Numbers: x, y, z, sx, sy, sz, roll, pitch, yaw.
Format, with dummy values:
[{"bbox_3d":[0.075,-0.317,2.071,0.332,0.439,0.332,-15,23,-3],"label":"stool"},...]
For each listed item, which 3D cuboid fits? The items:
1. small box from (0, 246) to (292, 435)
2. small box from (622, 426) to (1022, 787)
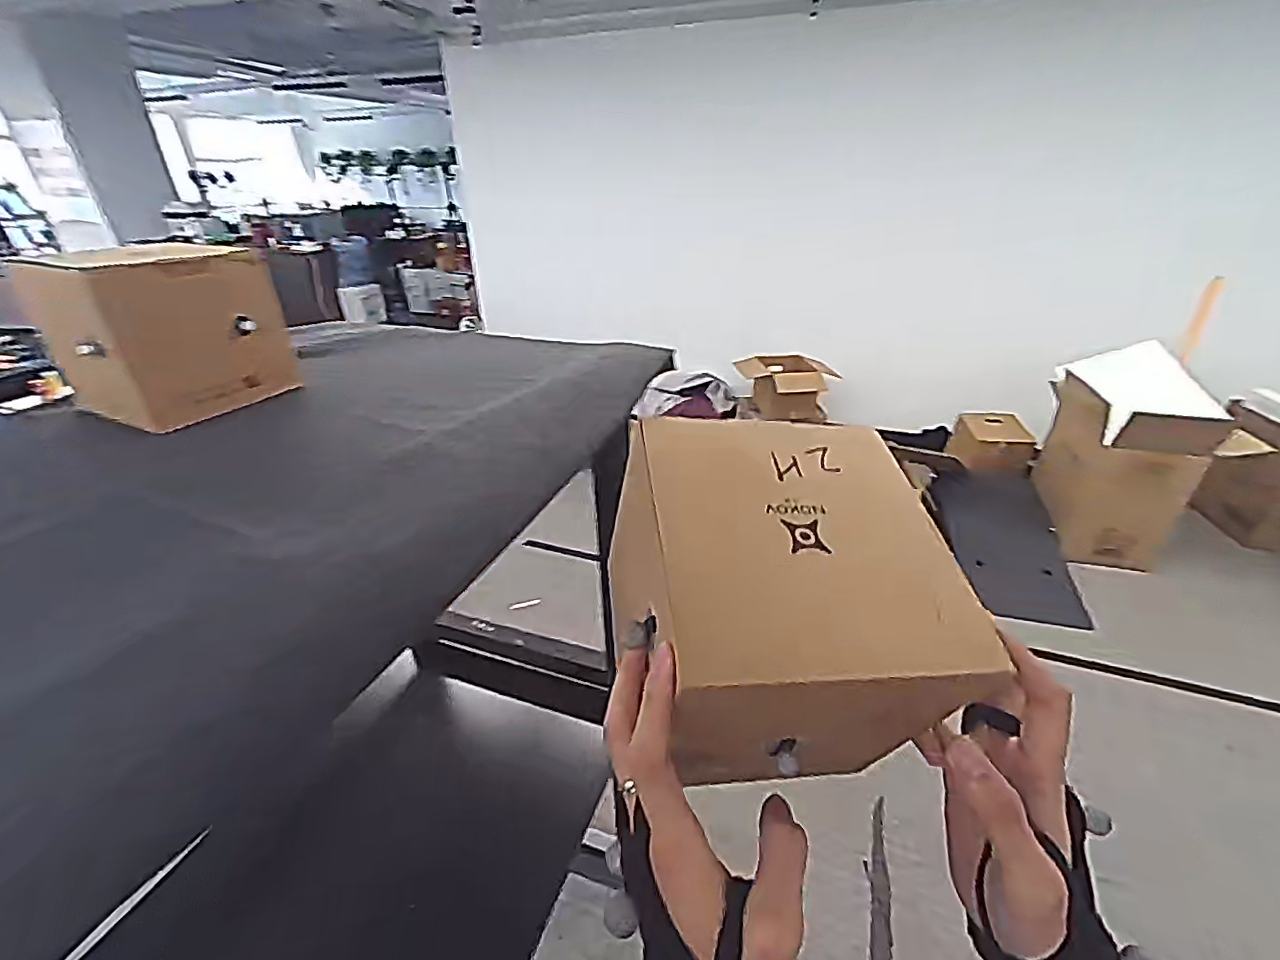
[{"bbox_3d":[-0.544,-0.163,0.616,0.179,0.176,0.168,12,31,22],"label":"small box"},{"bbox_3d":[0.083,0.087,0.354,0.168,0.176,0.179,2,47,-10],"label":"small box"}]
